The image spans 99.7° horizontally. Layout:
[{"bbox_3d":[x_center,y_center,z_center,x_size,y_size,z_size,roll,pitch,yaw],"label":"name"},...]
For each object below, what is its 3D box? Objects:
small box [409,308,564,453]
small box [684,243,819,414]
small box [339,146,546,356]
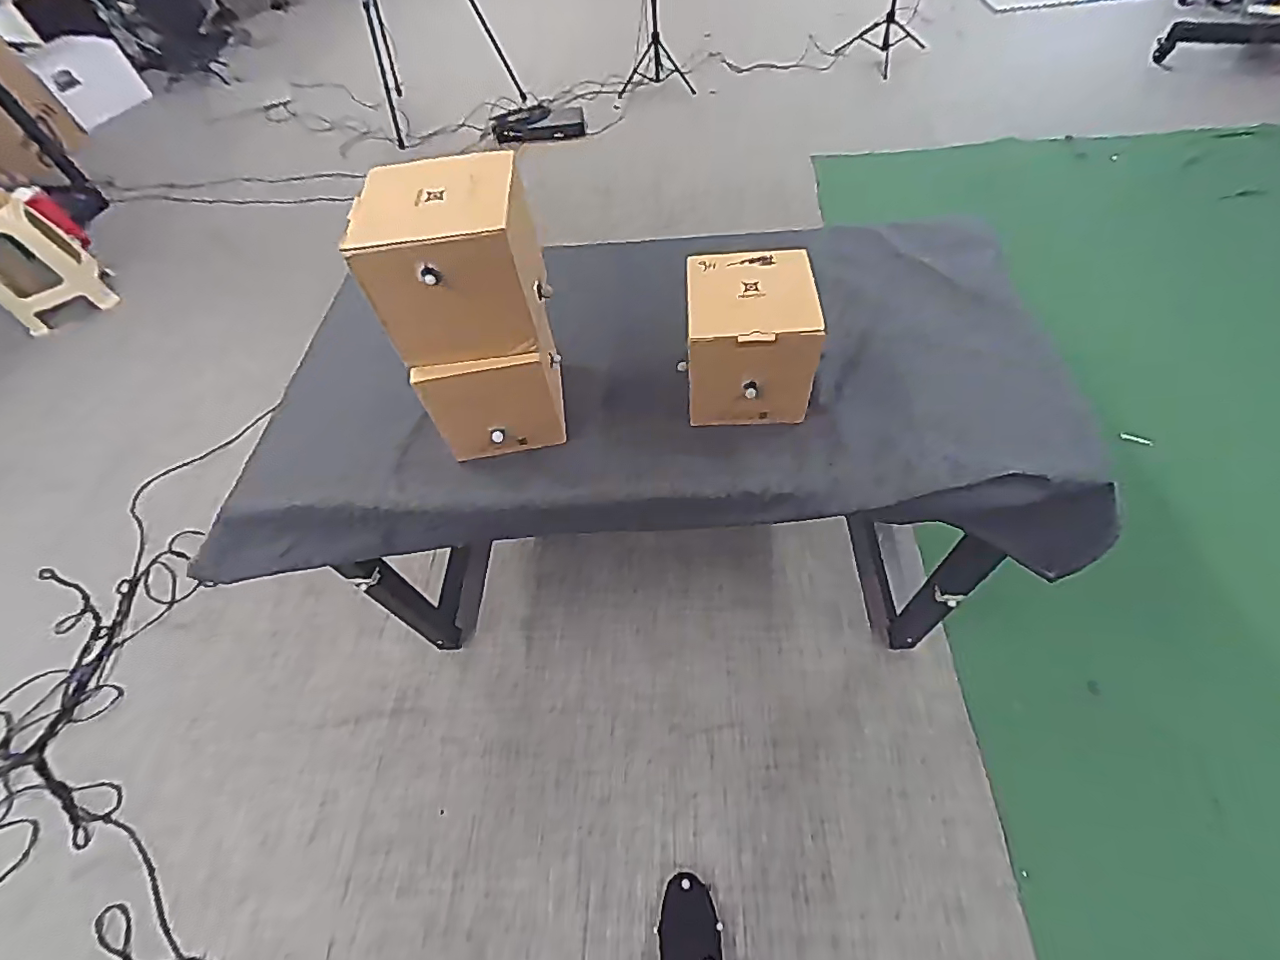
[{"bbox_3d":[-0.209,-0.164,0.778,0.168,0.176,0.179,-10,56,-1],"label":"small box"},{"bbox_3d":[0.148,-0.206,0.771,0.168,0.176,0.179,-1,56,5],"label":"small box"},{"bbox_3d":[-0.219,-0.268,0.653,0.179,0.176,0.168,-6,57,0],"label":"small box"}]
